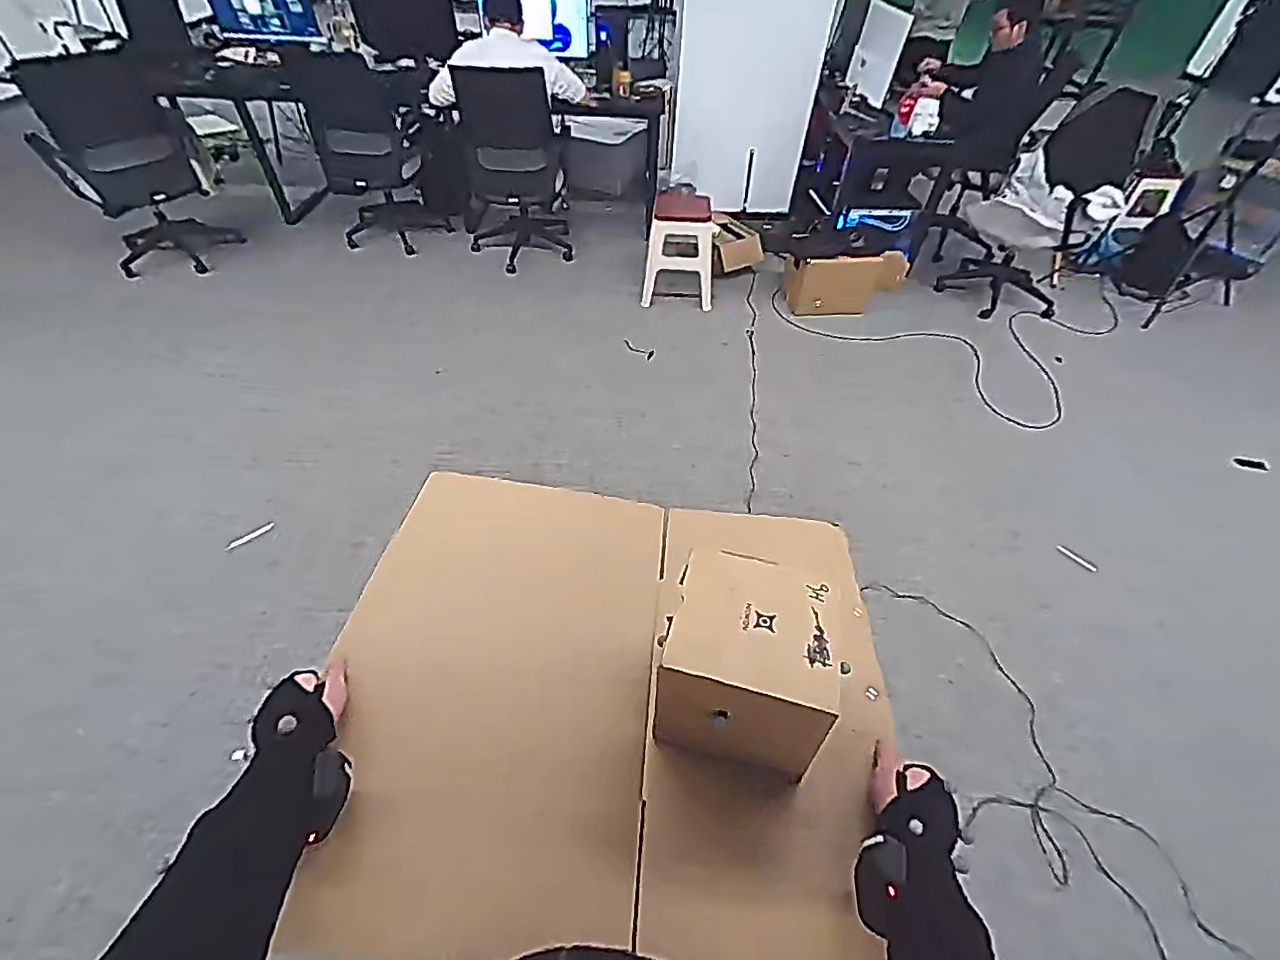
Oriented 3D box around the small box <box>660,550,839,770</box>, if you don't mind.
[{"bbox_3d":[0.124,0.211,0.636,0.179,0.176,0.168,11,43,11],"label":"small box"}]
